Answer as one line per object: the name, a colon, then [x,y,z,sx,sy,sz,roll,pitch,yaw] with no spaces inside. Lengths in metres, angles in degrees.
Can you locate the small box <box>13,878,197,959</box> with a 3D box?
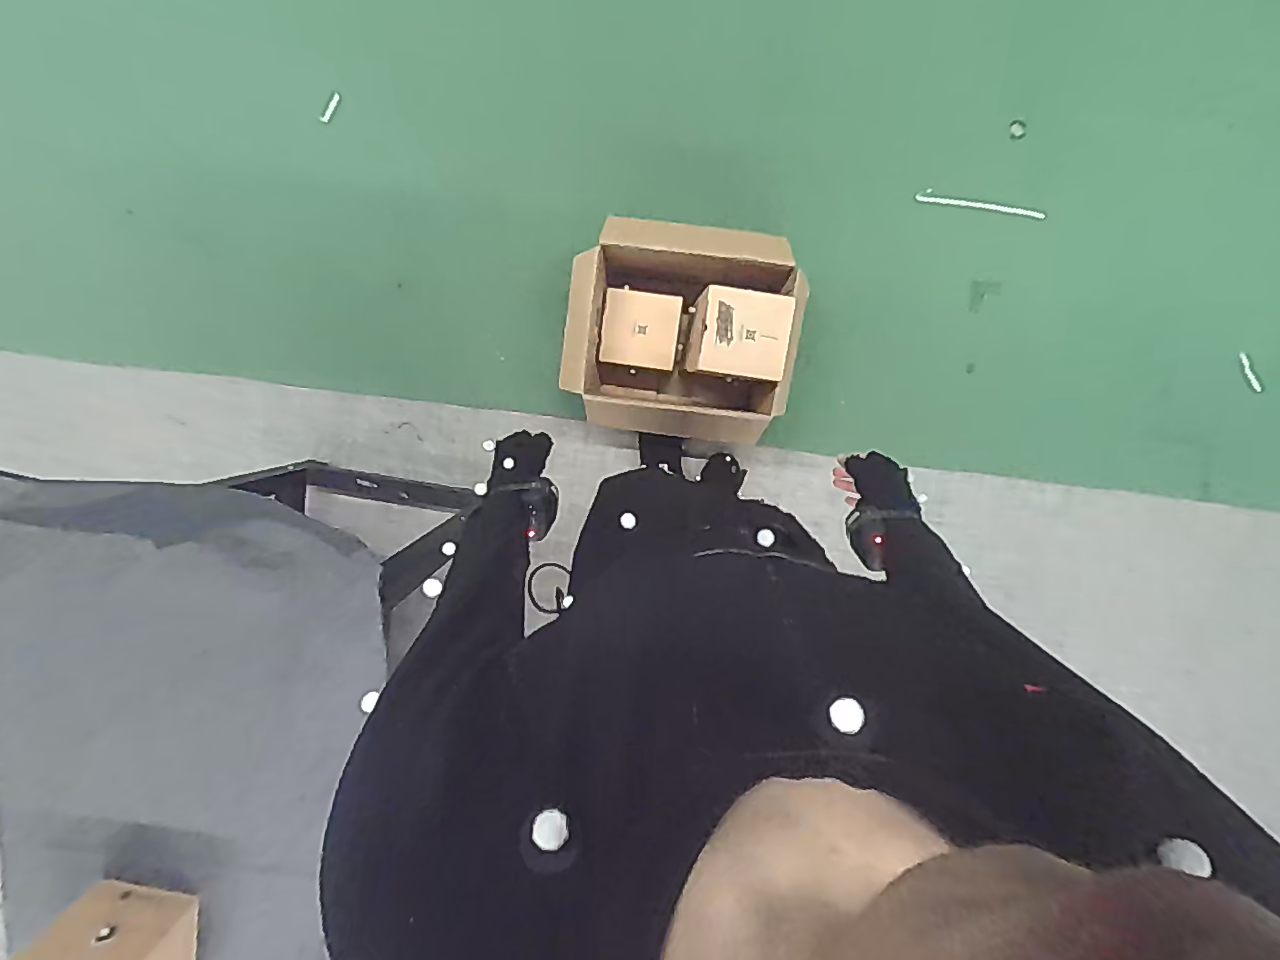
small box: [-0.816,0.752,0.815,0.168,0.176,0.179,11,100,0]
